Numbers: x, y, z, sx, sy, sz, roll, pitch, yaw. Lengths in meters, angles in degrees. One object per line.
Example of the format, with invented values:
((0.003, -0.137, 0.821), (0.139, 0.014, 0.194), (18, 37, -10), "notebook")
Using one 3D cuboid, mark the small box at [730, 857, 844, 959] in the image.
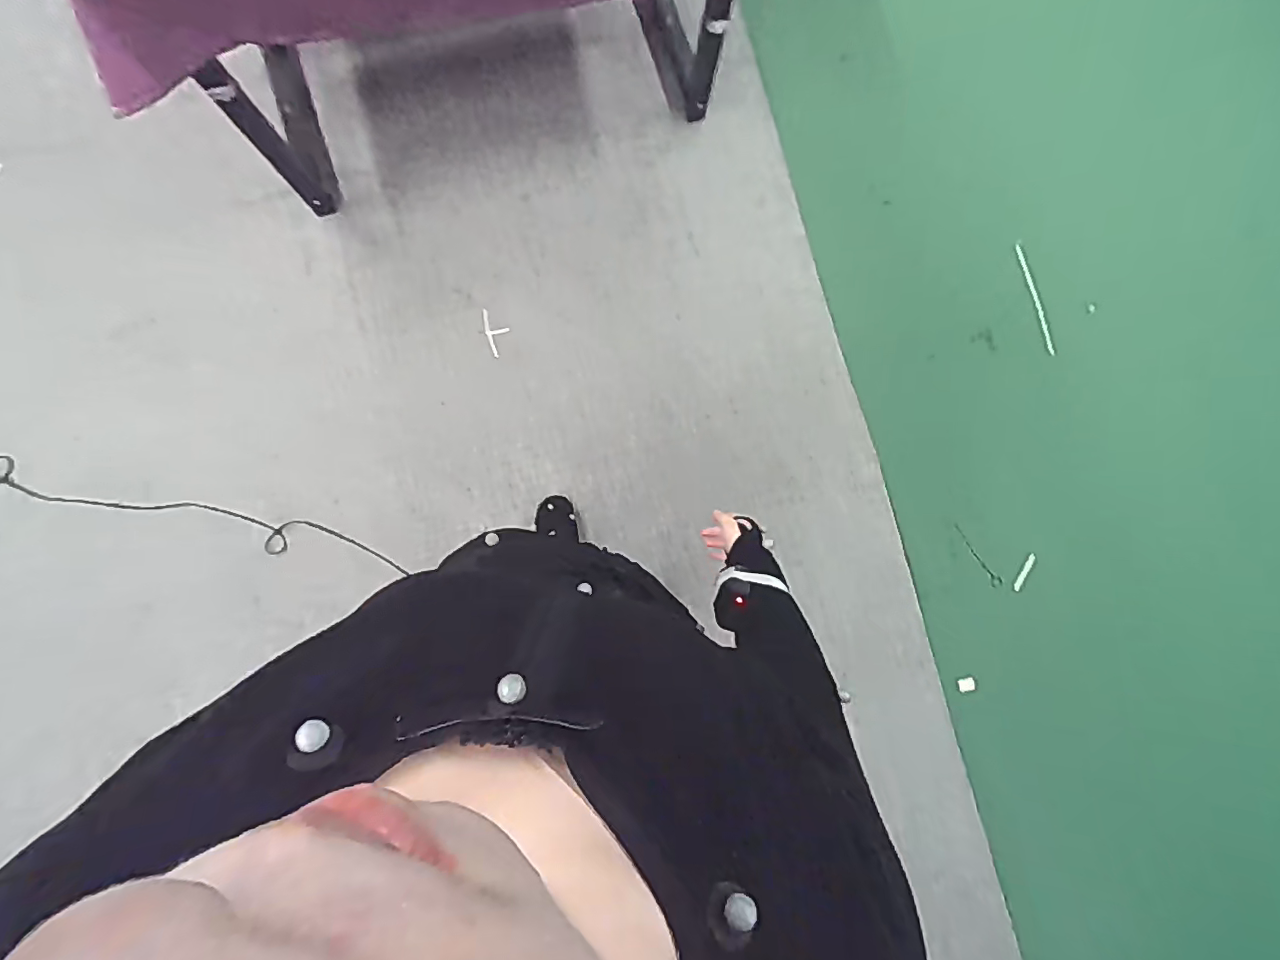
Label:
((0.295, 0.911, 1.083), (0.168, 0.176, 0.179), (-13, 88, -6), "small box")
